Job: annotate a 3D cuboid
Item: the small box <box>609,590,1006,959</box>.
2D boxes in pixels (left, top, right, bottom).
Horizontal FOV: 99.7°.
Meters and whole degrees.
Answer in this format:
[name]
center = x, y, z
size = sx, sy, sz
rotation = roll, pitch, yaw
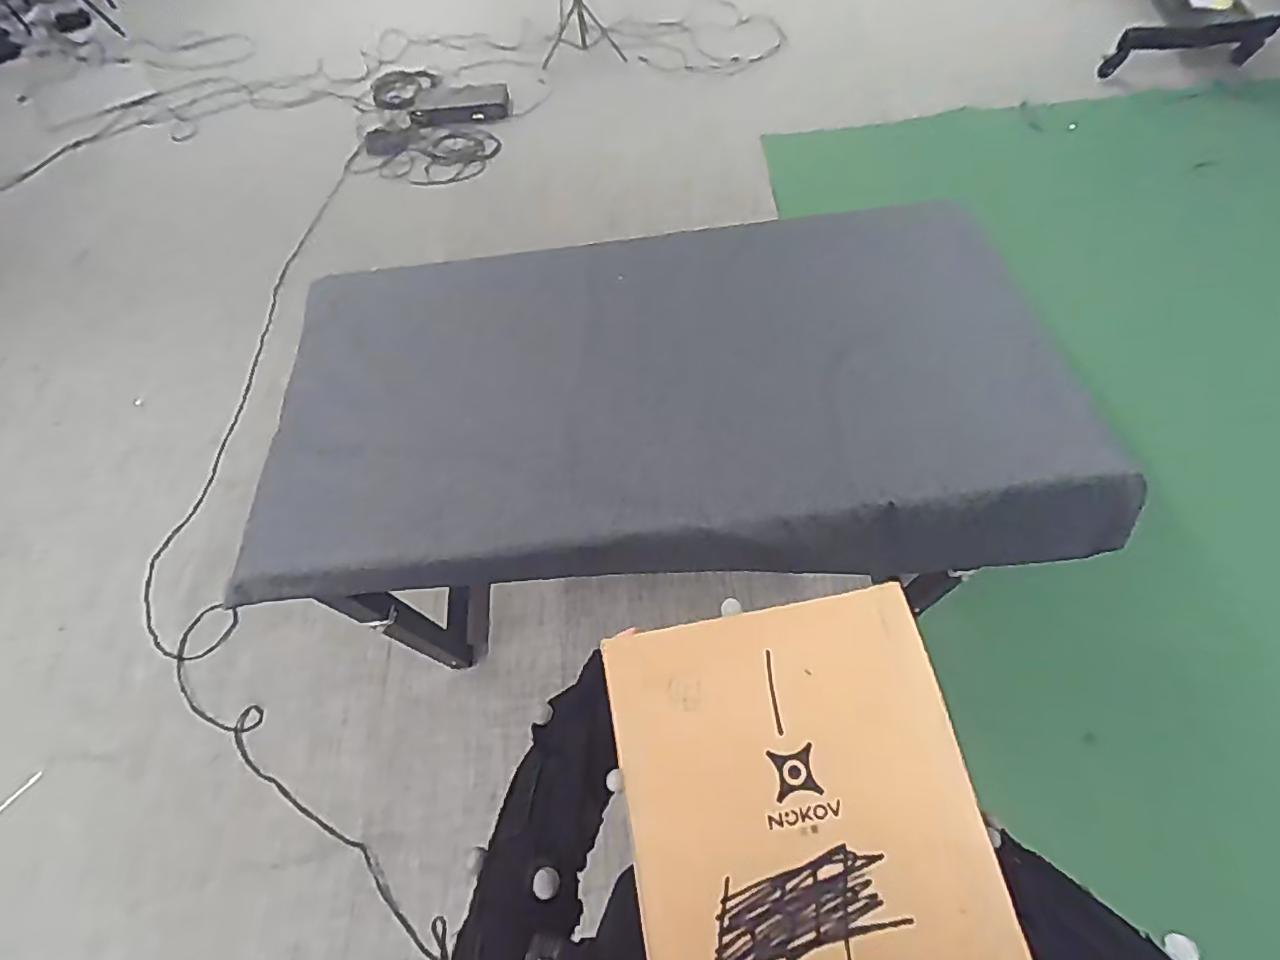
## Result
[small box]
center = 0.079, 0.179, 0.347
size = 0.168, 0.176, 0.179
rotation = -9, 70, -1
